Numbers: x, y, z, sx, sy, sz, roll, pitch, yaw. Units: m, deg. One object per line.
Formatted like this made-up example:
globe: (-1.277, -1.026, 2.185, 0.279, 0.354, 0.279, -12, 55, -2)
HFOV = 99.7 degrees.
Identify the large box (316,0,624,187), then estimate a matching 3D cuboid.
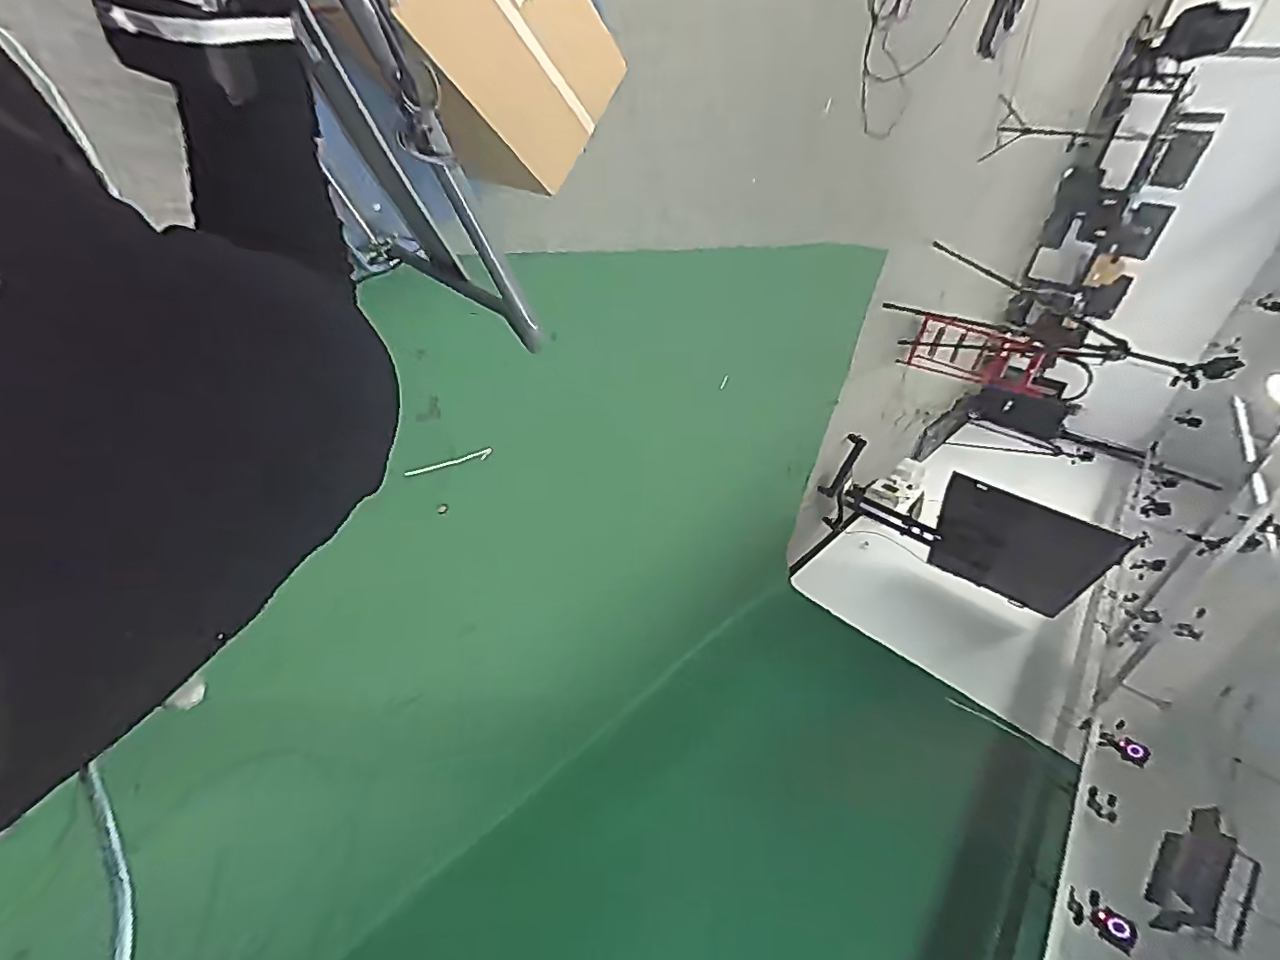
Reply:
large box: (-0.310, -0.856, 1.049, 0.320, 0.320, 0.408, -60, 146, 2)
